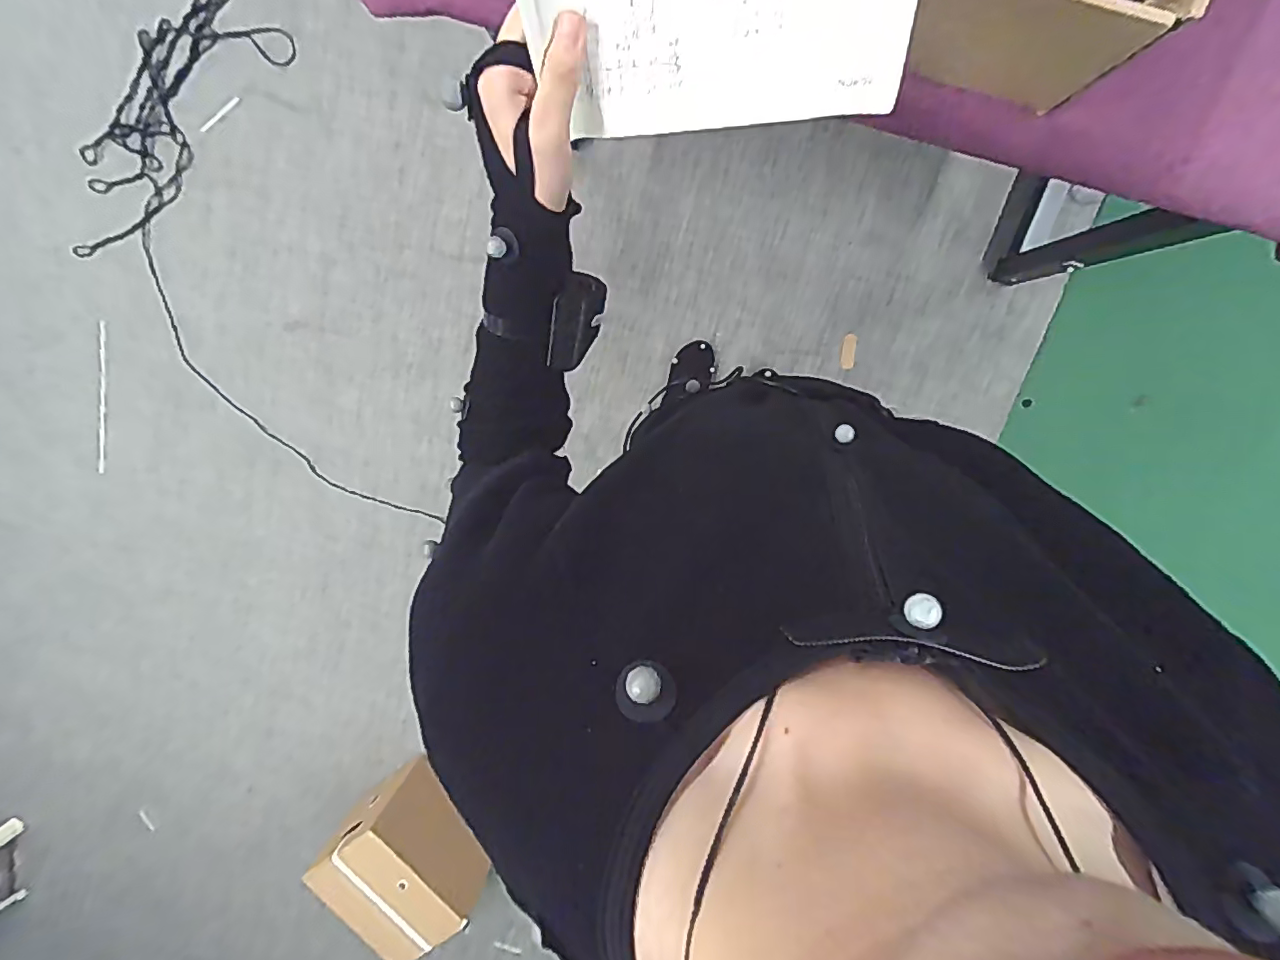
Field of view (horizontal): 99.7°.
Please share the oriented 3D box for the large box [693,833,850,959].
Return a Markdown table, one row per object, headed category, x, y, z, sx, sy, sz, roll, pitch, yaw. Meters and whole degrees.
| category | x | y | z | sx | sy | sz | roll | pitch | yaw |
| --- | --- | --- | --- | --- | --- | --- | --- | --- | --- |
| large box | 0.362 | 1.311 | 1.606 | 0.408 | 0.320 | 0.320 | 2 | 103 | 4 |
